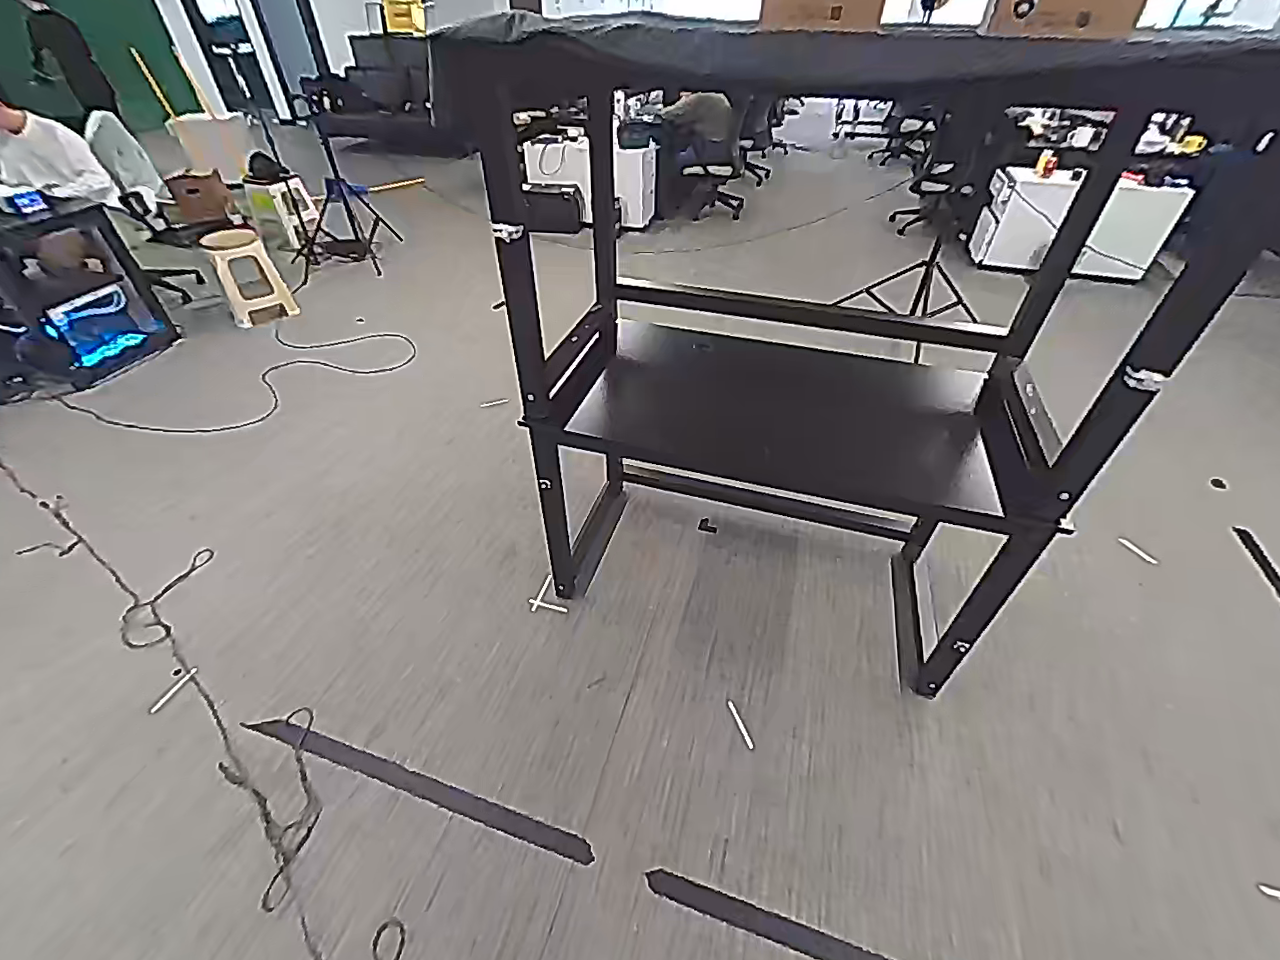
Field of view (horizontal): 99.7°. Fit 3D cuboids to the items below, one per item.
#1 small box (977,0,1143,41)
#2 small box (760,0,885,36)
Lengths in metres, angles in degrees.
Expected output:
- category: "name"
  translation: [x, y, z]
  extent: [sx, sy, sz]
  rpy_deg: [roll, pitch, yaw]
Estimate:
- category: "small box"
  translation: [0.558, -0.676, 0.694]
  extent: [0.168, 0.176, 0.179]
  rpy_deg: [15, 42, 16]
- category: "small box"
  translation: [0.270, -0.736, 0.757]
  extent: [0.168, 0.176, 0.179]
  rpy_deg: [11, 41, 13]
